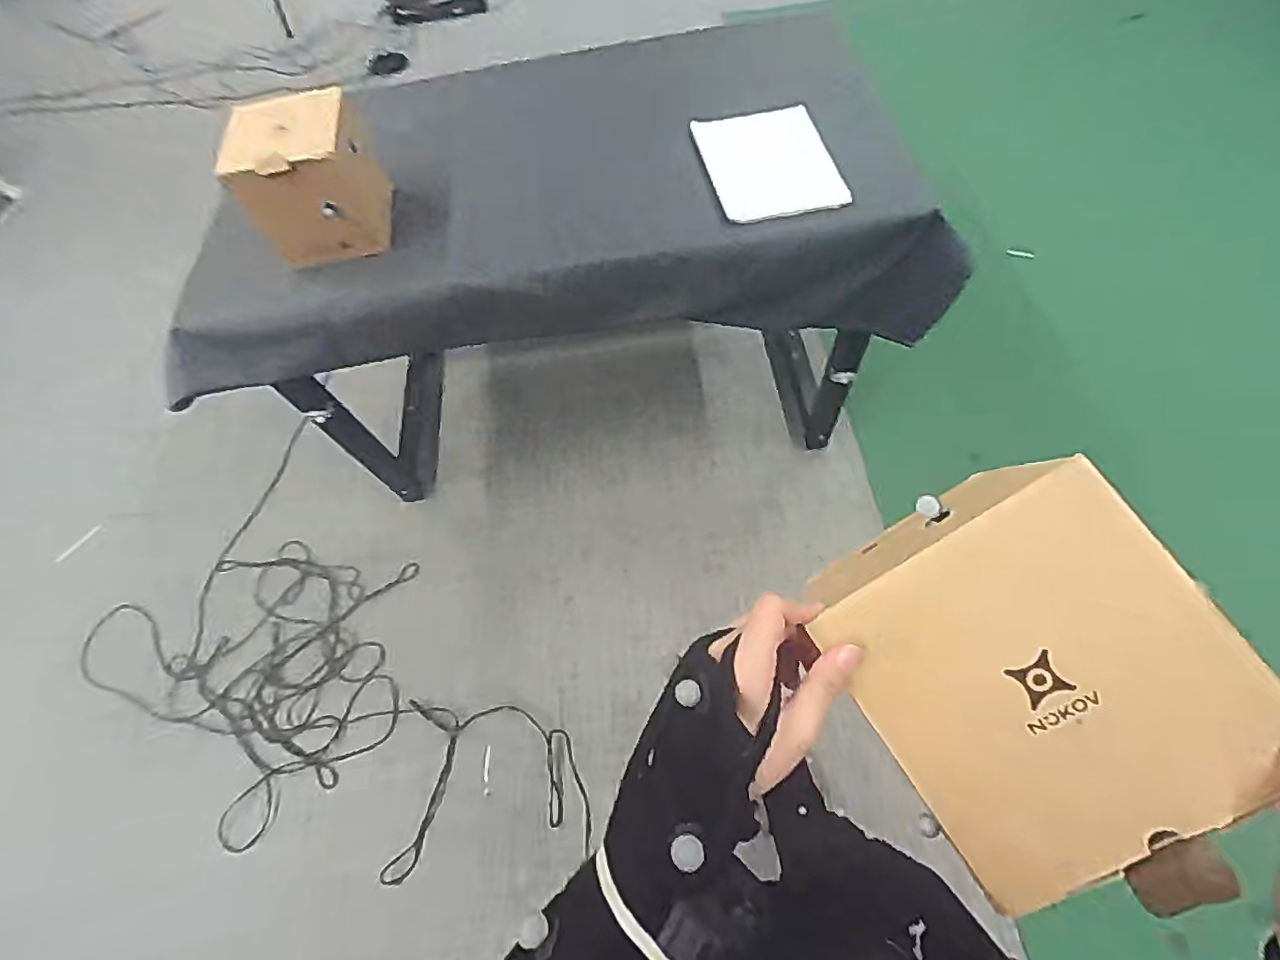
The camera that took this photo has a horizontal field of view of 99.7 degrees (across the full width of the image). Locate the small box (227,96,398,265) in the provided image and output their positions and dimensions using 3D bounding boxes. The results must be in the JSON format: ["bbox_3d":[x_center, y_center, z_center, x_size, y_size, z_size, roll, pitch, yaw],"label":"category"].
[{"bbox_3d":[-0.507,-0.467,0.865,0.168,0.176,0.179,-11,61,-1],"label":"small box"}]
